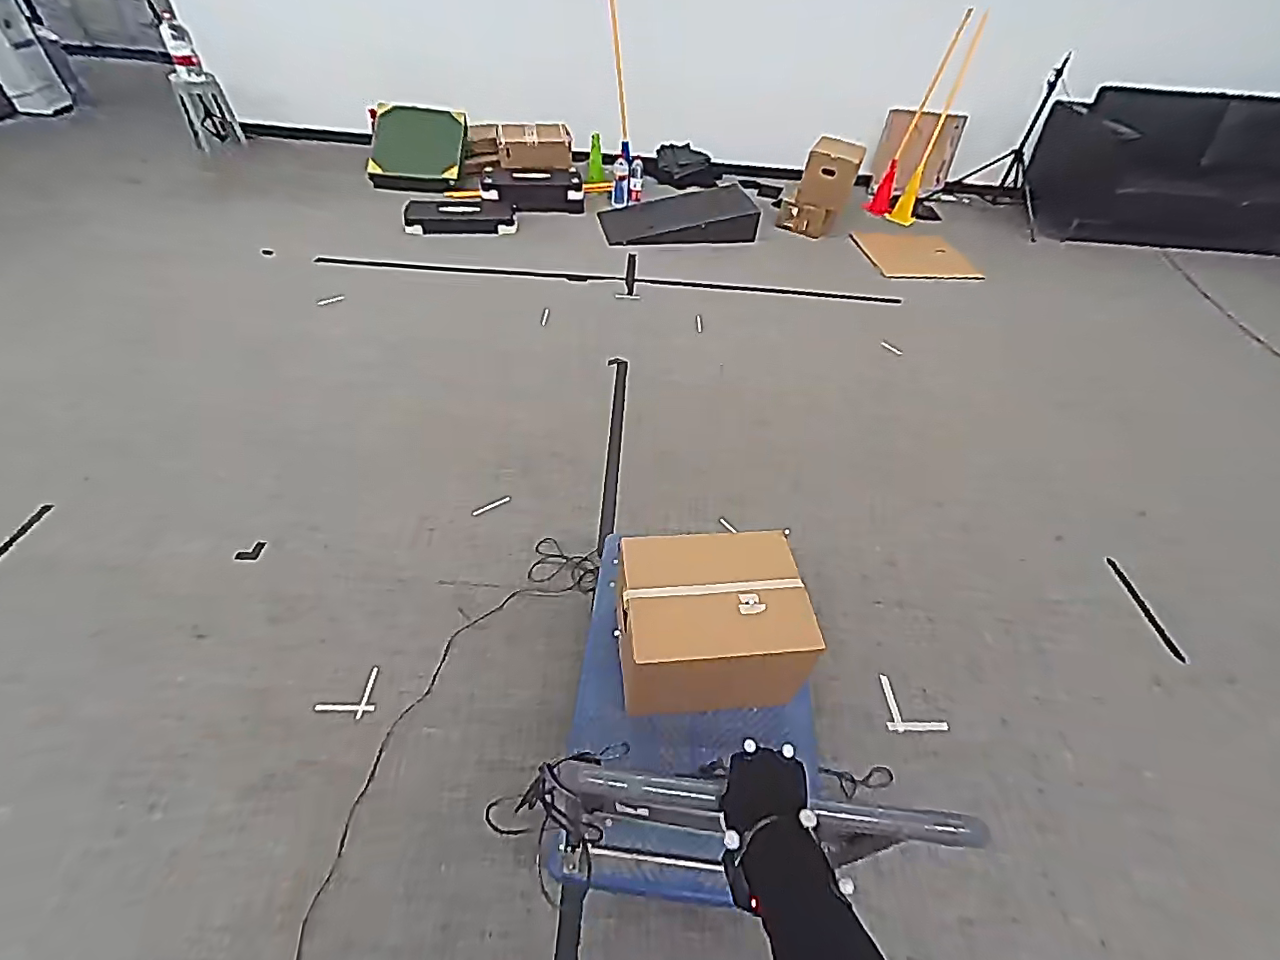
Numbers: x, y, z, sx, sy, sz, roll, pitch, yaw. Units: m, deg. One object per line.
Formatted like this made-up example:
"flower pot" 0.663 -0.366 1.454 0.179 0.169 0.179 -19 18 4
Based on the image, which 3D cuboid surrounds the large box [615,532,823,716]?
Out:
"large box" 0.159 0.347 1.308 0.408 0.320 0.320 -1 48 -8
